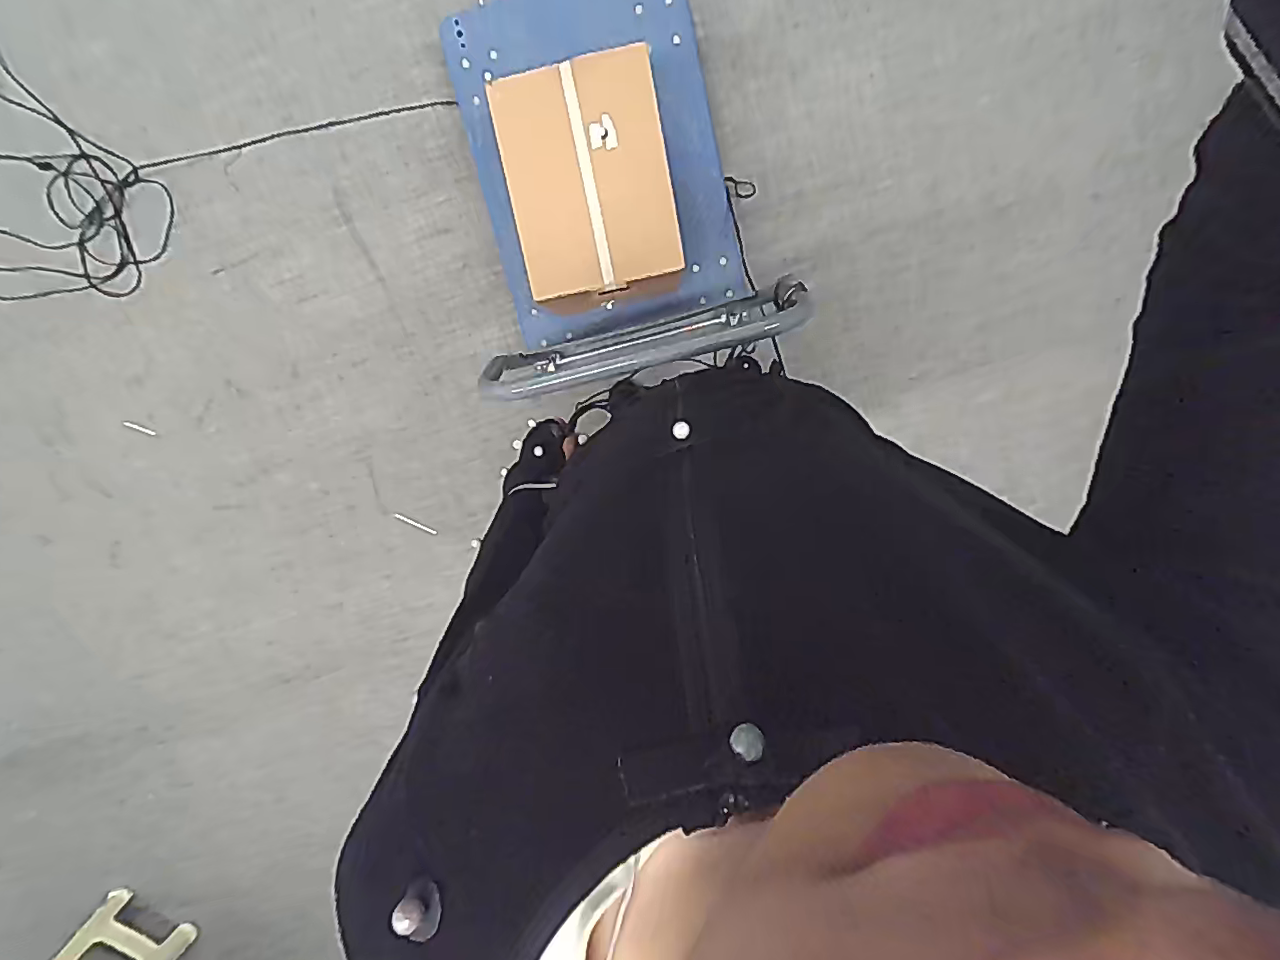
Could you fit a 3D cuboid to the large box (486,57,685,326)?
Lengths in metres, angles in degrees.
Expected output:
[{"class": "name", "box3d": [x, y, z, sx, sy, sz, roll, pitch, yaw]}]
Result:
[{"class": "large box", "box3d": [-0.095, -0.584, 1.182, 0.320, 0.320, 0.408, -11, 100, 3]}]
